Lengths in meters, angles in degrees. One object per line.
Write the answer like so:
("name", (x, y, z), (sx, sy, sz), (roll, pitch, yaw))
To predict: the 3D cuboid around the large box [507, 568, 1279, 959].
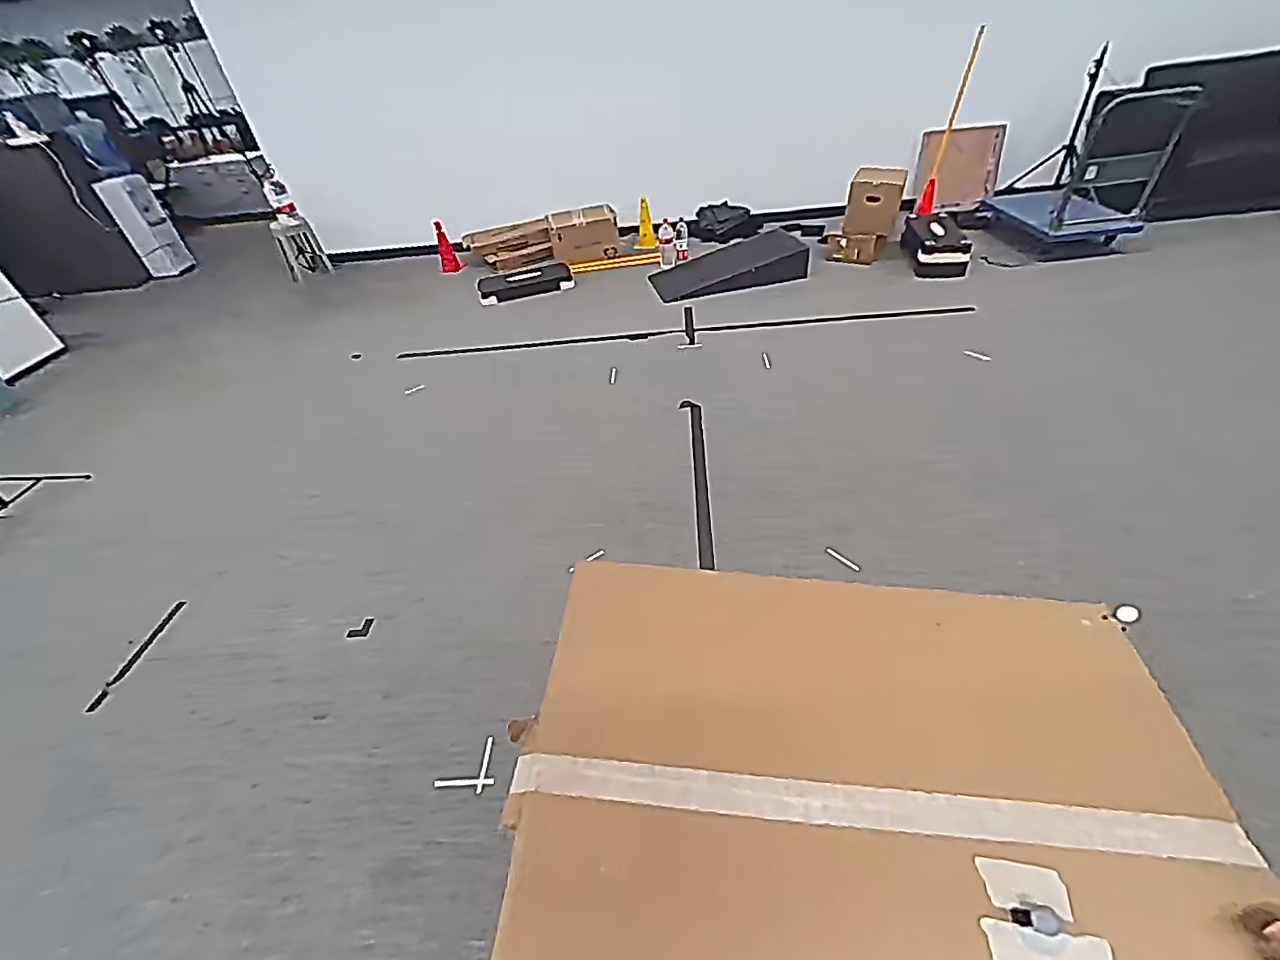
("large box", (0.131, 0.297, 0.424), (0.408, 0.320, 0.320), (5, 46, 2))
